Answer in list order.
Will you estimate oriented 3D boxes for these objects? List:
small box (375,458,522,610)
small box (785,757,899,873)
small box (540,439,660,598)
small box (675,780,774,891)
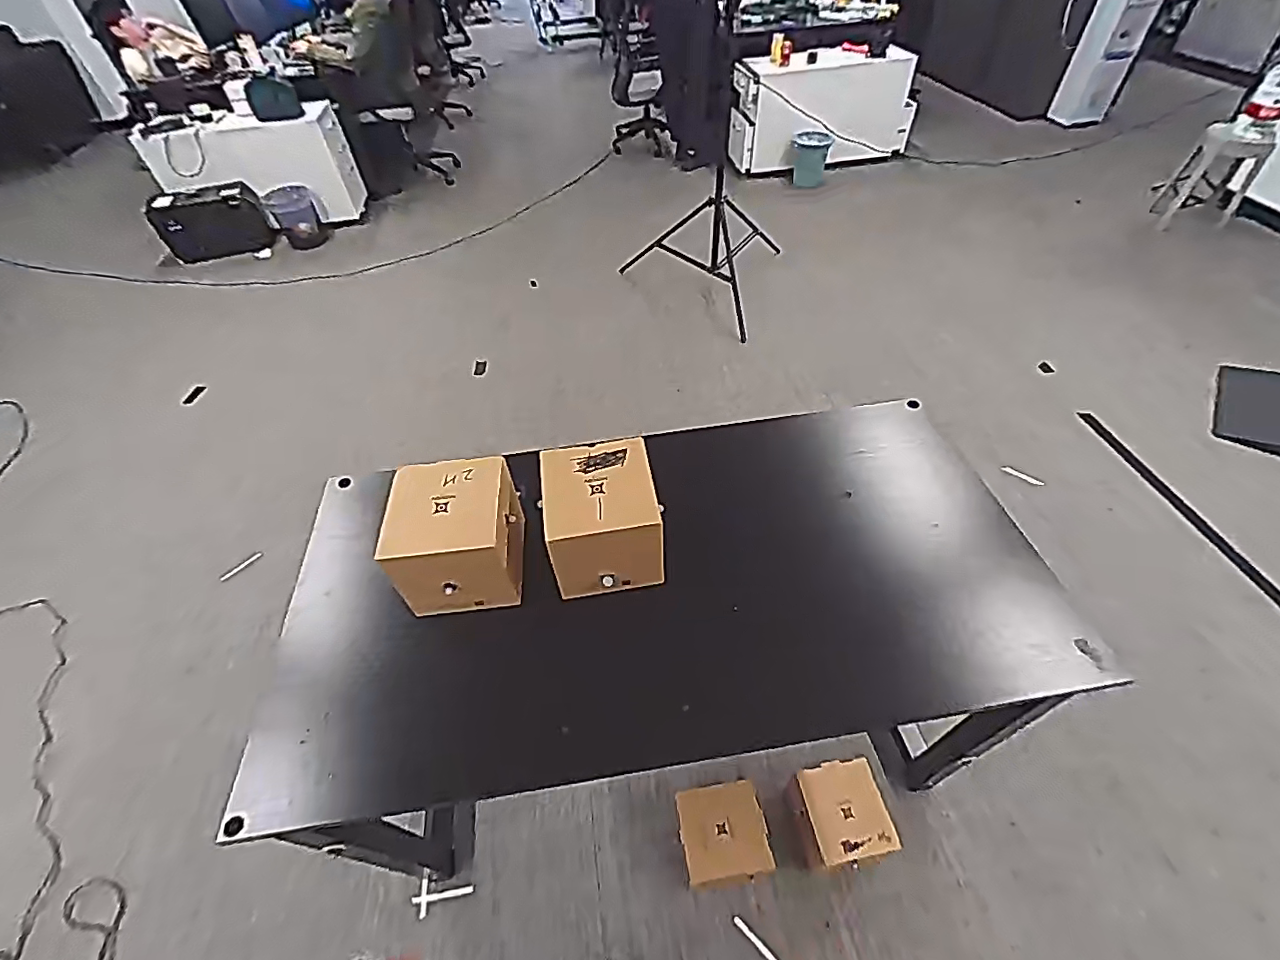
[{"bbox_3d":[-0.285,0.091,0.850,0.168,0.176,0.179,-6,48,-3],"label":"small box"},{"bbox_3d":[0.435,0.744,1.199,0.168,0.176,0.179,-10,48,-4],"label":"small box"},{"bbox_3d":[-0.063,0.062,0.861,0.168,0.176,0.179,-9,49,-4],"label":"small box"},{"bbox_3d":[0.175,0.781,1.187,0.179,0.176,0.168,-10,48,-3],"label":"small box"}]
